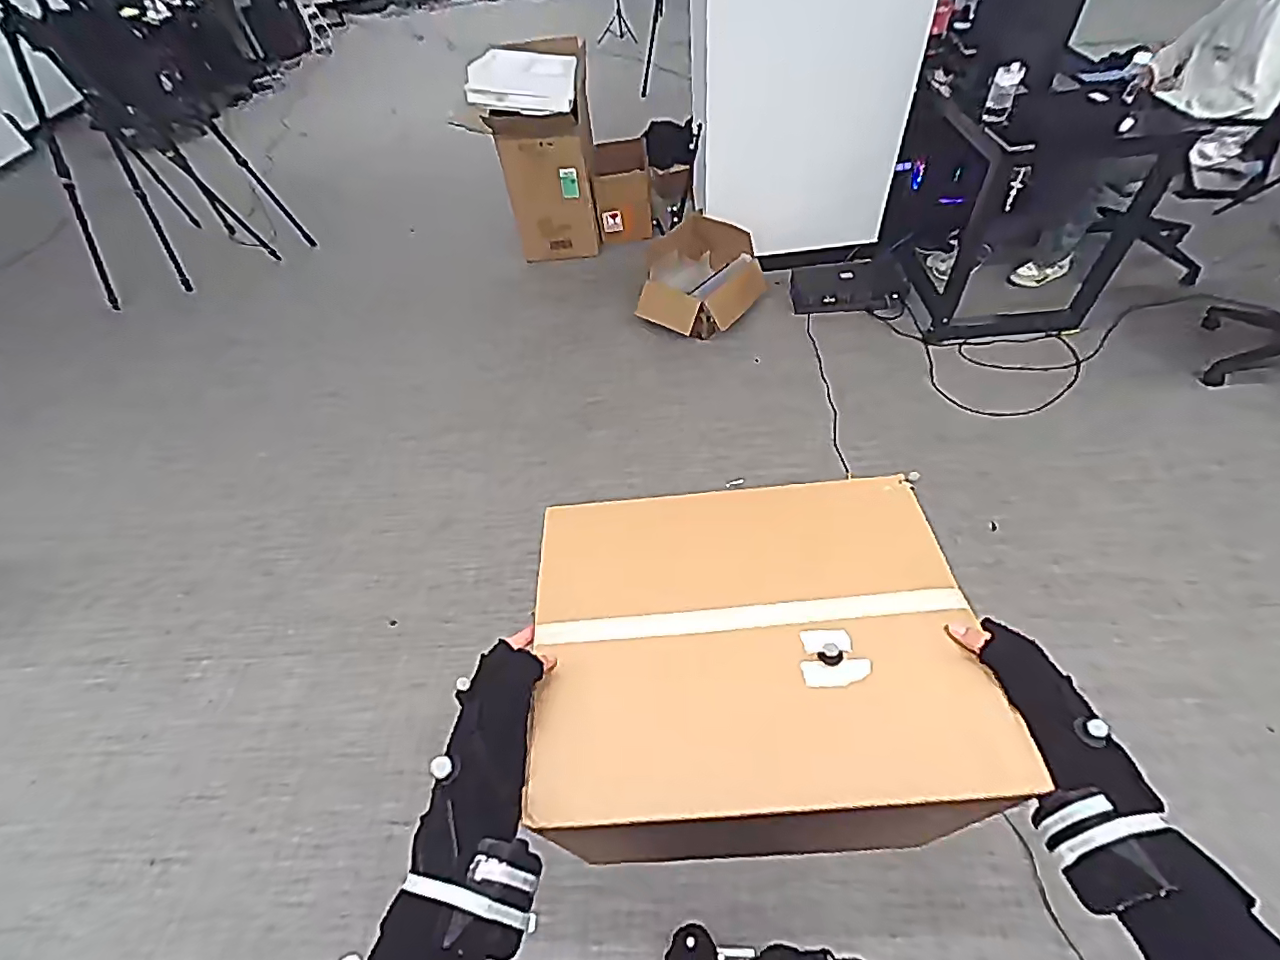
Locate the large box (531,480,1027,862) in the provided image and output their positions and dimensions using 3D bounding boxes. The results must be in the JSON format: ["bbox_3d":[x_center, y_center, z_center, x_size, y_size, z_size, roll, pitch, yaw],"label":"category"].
[{"bbox_3d":[0.112,0.231,0.635,0.408,0.320,0.320,-5,50,3],"label":"large box"}]
